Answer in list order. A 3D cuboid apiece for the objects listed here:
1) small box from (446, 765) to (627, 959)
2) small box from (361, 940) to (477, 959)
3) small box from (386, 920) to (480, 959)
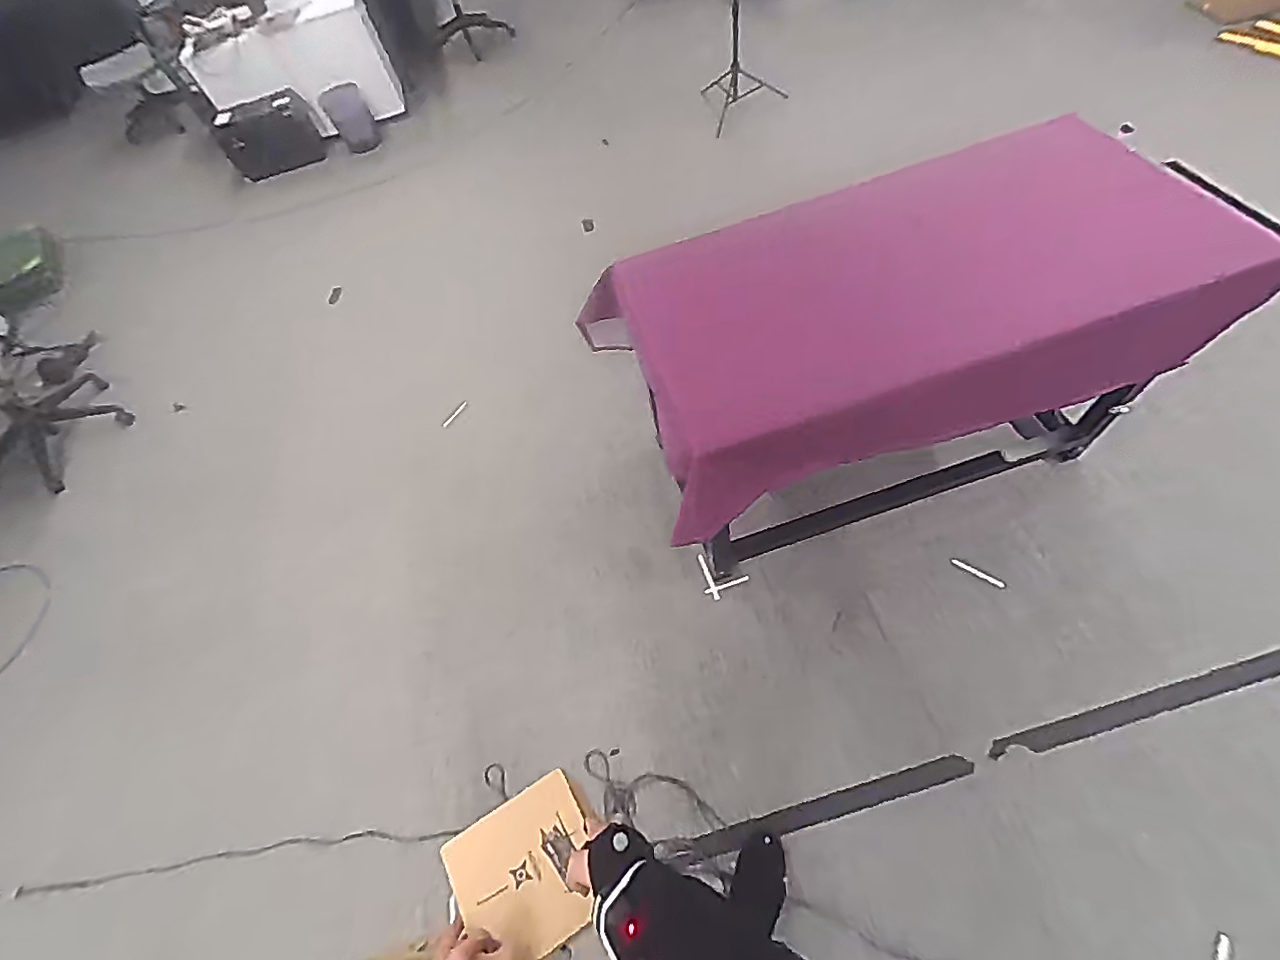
[{"bbox_3d":[-0.127,0.517,0.724,0.179,0.176,0.168,-28,56,-14],"label":"small box"},{"bbox_3d":[-0.394,0.895,0.901,0.179,0.176,0.168,-10,59,5],"label":"small box"},{"bbox_3d":[-0.372,0.977,1.042,0.168,0.176,0.179,-16,58,1],"label":"small box"}]
